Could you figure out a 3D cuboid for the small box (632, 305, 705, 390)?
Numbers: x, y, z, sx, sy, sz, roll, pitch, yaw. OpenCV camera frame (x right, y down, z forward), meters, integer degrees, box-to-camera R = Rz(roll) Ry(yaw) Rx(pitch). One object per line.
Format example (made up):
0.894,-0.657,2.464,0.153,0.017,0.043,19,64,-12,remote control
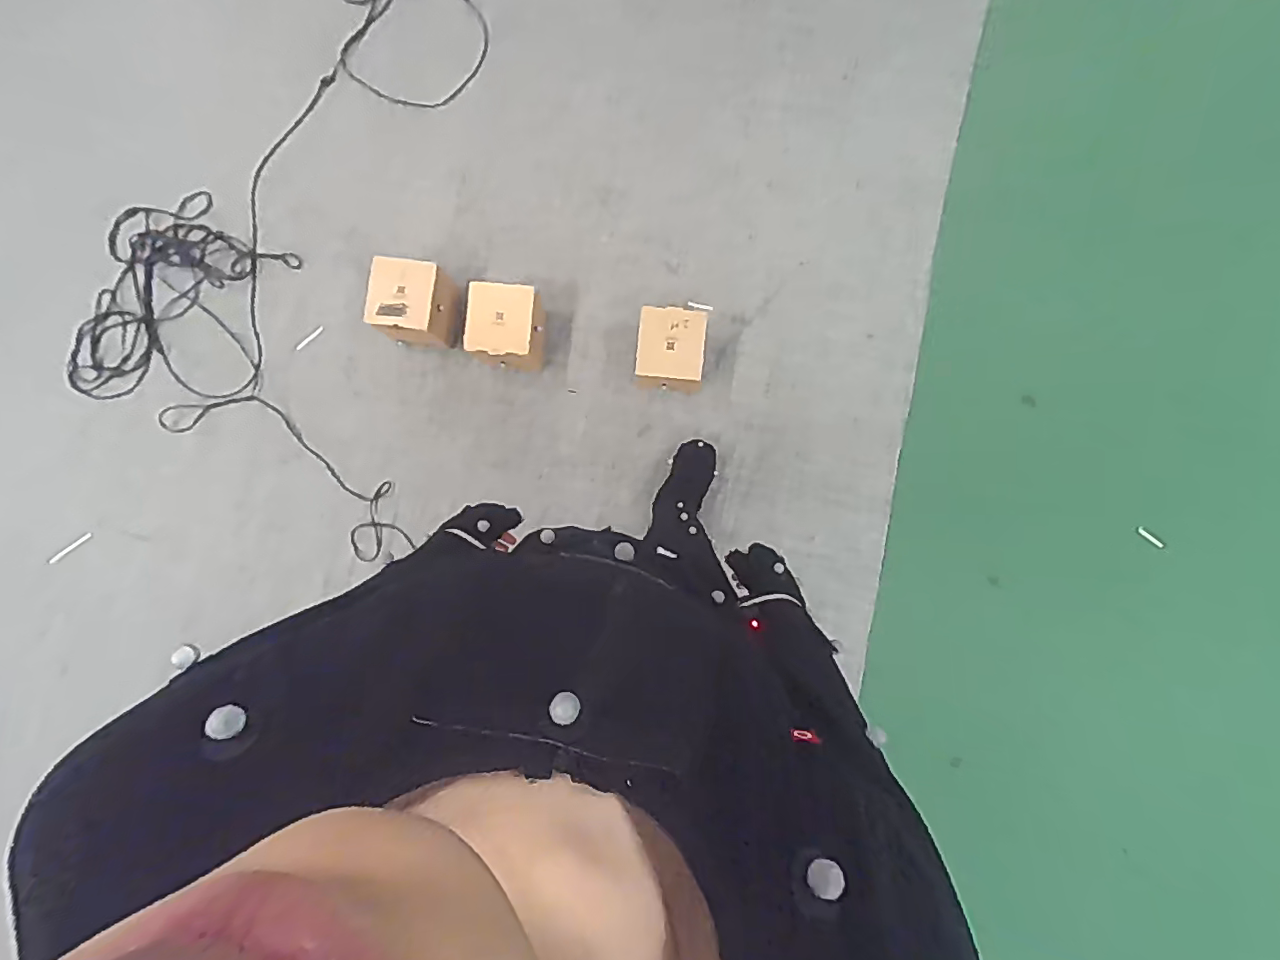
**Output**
0.071,-0.335,1.403,0.168,0.176,0.179,5,89,0,small box

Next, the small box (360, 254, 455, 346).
-0.599,-0.461,1.414,0.168,0.176,0.179,8,88,1,small box

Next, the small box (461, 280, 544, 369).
-0.351,-0.399,1.411,0.168,0.176,0.179,5,90,1,small box
